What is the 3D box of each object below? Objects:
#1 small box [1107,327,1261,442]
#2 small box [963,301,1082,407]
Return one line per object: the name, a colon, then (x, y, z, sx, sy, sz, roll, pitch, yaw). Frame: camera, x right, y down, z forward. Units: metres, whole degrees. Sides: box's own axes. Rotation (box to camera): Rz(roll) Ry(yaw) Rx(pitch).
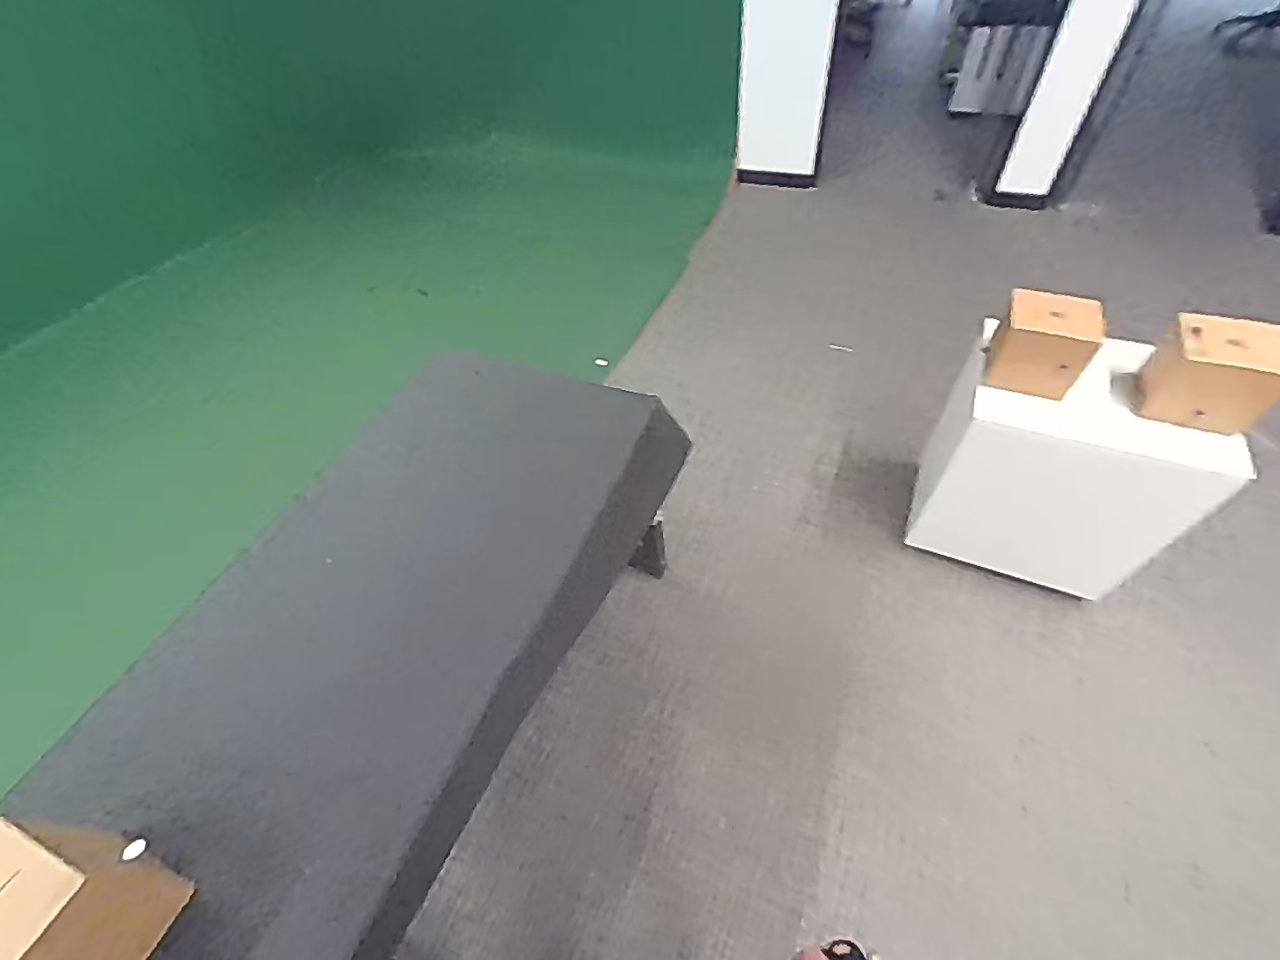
small box: (1.189, -0.207, 1.199, 0.179, 0.176, 0.168, 19, 54, 17)
small box: (0.904, -0.297, 1.290, 0.179, 0.176, 0.168, 16, 52, 16)
